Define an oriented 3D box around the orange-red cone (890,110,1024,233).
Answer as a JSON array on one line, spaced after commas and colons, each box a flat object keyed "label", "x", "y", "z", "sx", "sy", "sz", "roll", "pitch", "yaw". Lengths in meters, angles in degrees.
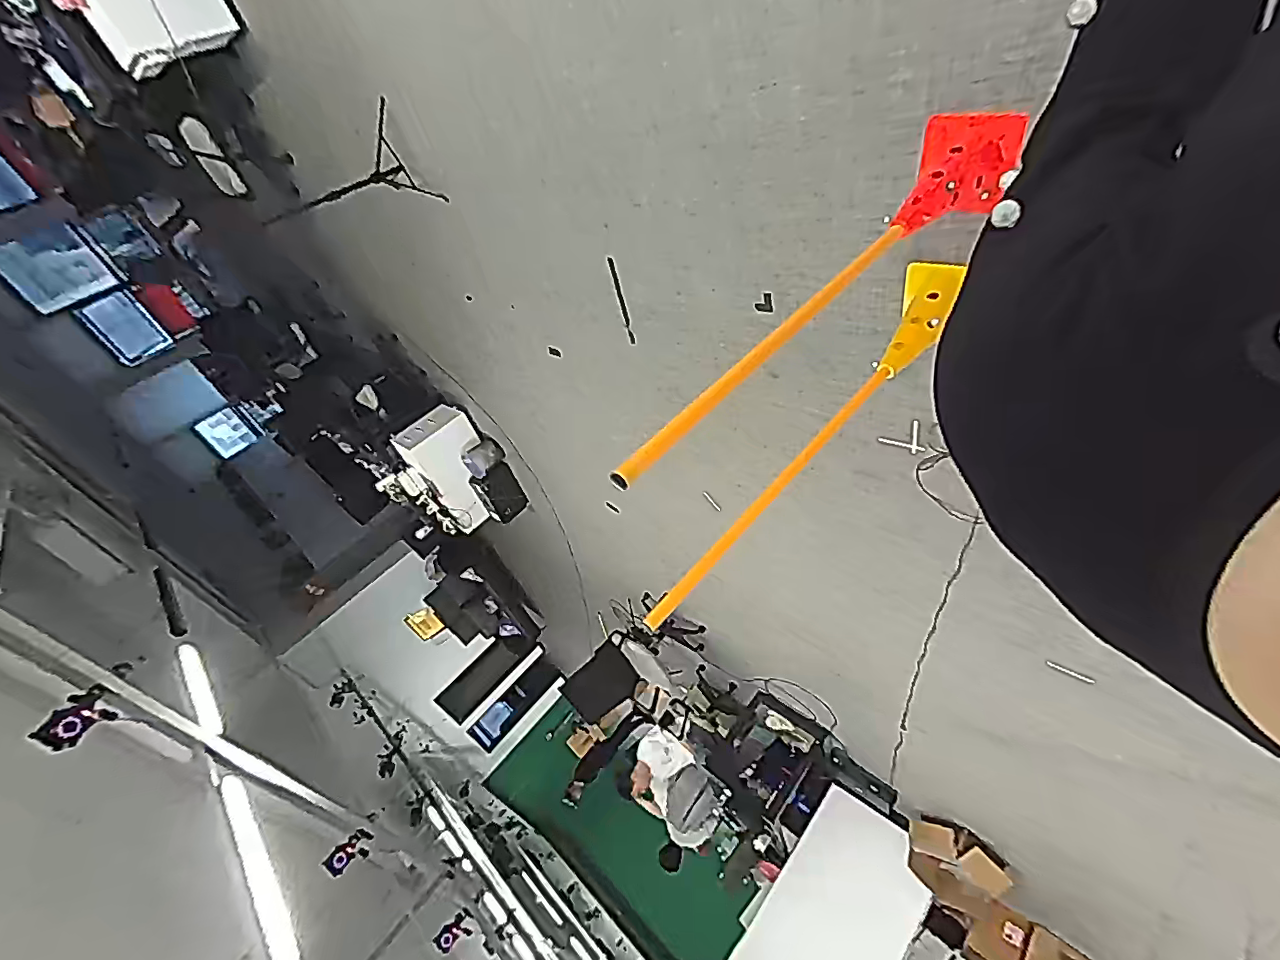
[{"label": "orange-red cone", "x": 0.614, "y": -0.608, "z": 1.131, "sx": 0.198, "sy": 0.360, "sz": 0.199, "roll": 26, "pitch": 146, "yaw": 33}]
